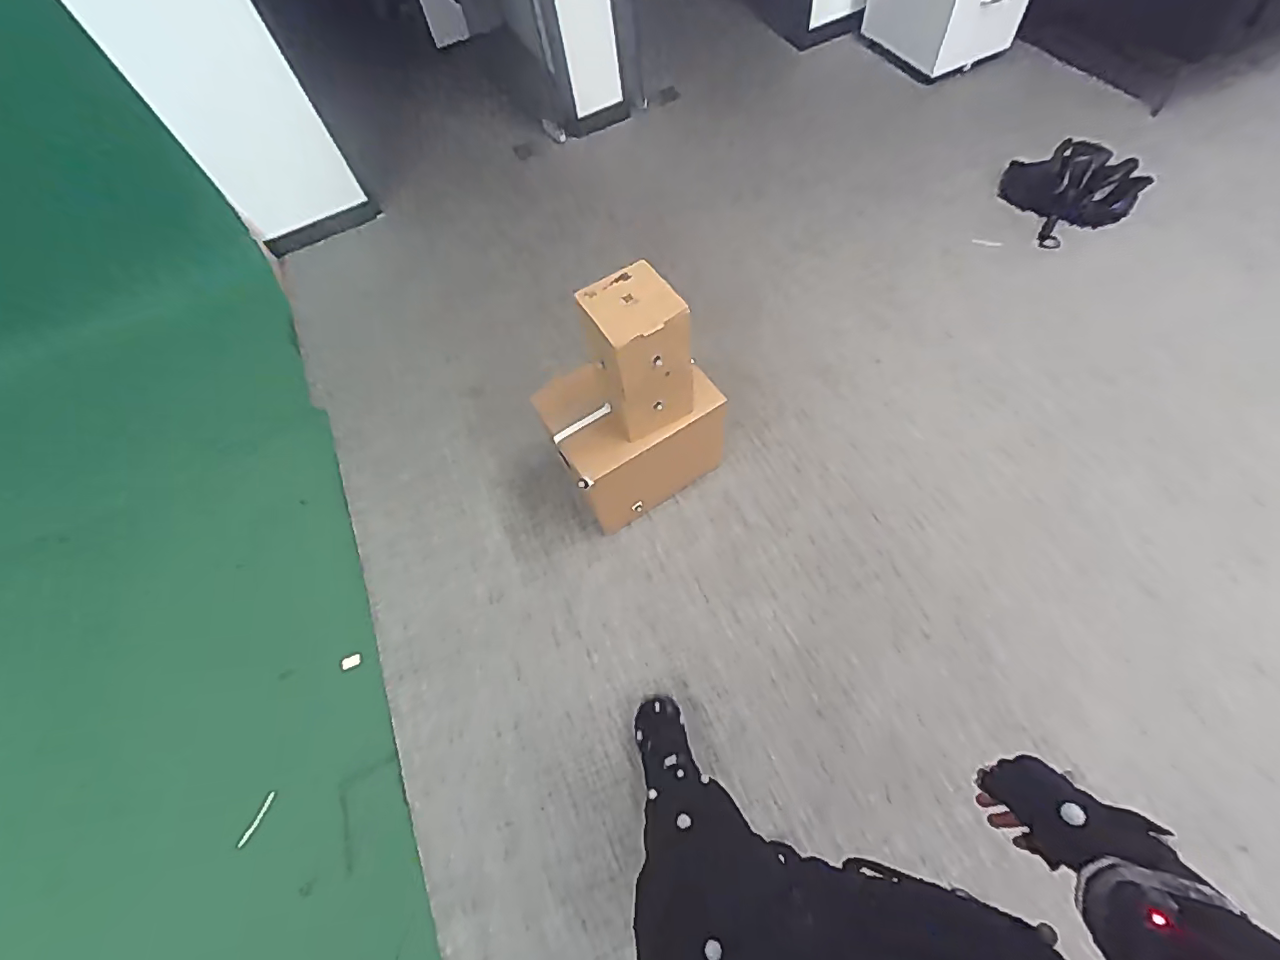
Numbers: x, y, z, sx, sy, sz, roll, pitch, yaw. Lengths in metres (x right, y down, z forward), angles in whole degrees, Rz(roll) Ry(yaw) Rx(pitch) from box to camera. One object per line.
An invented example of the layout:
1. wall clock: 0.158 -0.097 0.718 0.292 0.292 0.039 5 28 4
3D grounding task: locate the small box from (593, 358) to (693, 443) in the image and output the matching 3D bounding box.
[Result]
1. small box: 0.011 -0.219 1.267 0.179 0.176 0.168 -28 62 -7

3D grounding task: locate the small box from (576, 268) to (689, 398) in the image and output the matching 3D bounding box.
1. small box: -0.008 -0.296 1.124 0.168 0.176 0.179 -29 63 -9
